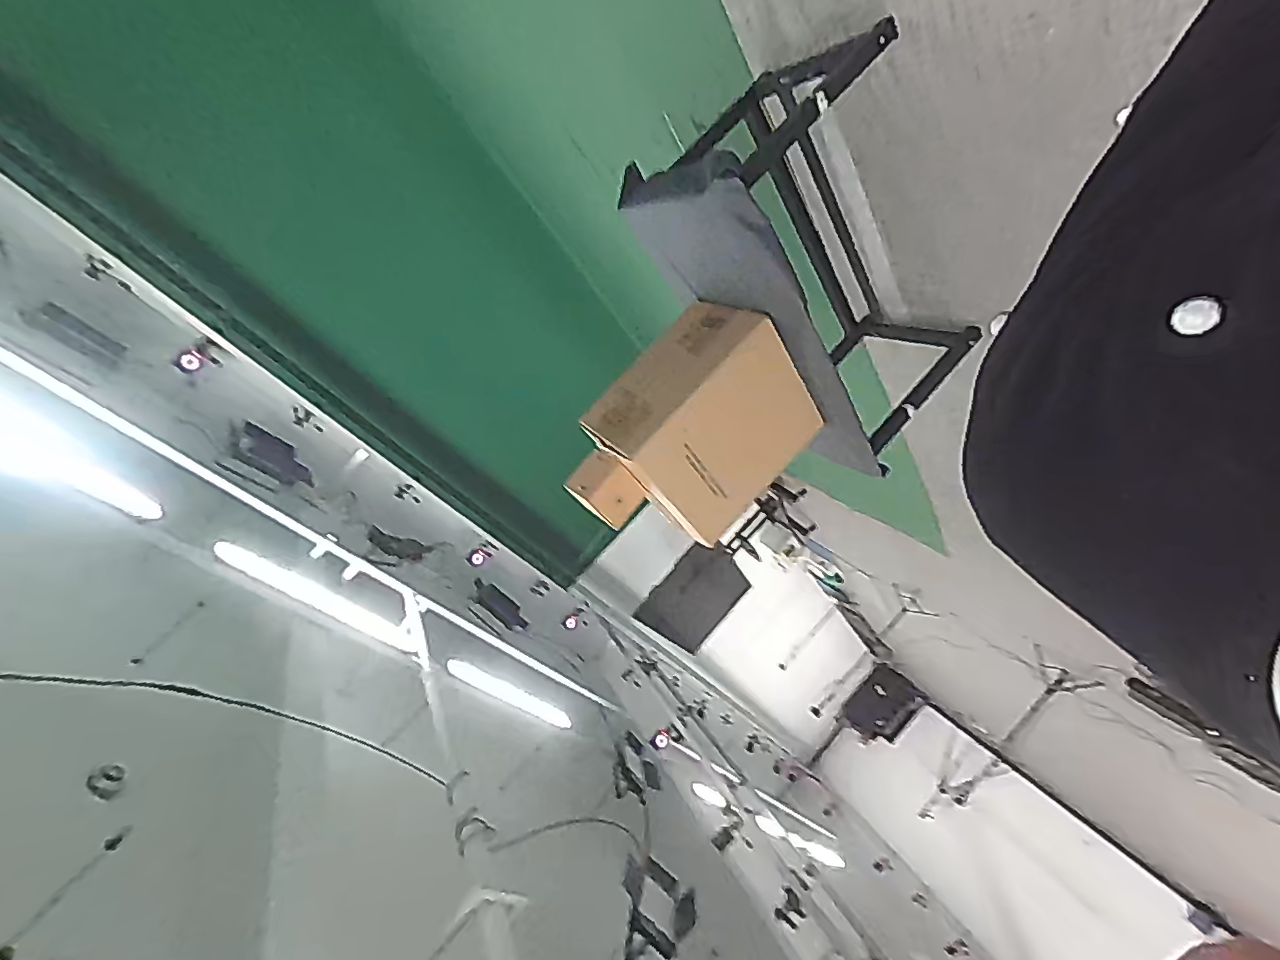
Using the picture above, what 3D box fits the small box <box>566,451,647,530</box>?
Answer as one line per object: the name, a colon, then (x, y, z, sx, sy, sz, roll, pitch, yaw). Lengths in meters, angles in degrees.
small box: (-0.107, 0.033, 1.827, 0.168, 0.176, 0.179, 28, 165, 50)
